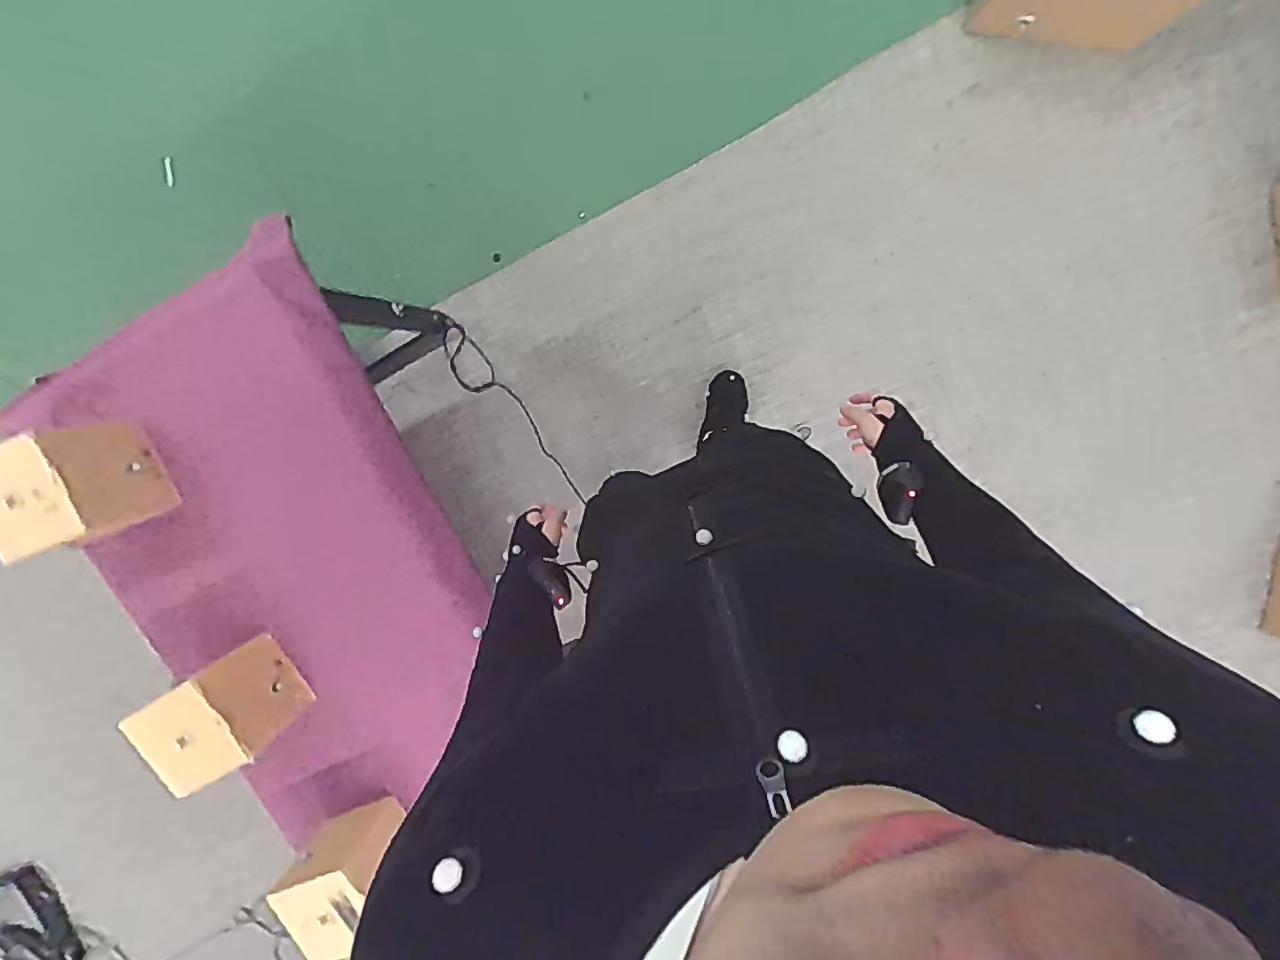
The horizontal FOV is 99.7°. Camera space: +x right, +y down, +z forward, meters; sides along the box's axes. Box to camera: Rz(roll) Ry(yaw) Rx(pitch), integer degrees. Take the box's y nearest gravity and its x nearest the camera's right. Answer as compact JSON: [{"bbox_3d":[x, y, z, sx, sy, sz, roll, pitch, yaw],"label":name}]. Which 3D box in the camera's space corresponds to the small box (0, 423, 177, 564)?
[{"bbox_3d":[-0.942,0.014,0.897,0.179,0.176,0.168,-19,101,8],"label":"small box"}]

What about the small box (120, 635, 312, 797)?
[{"bbox_3d":[-0.744,0.414,0.970,0.179,0.176,0.168,-30,98,10],"label":"small box"}]
